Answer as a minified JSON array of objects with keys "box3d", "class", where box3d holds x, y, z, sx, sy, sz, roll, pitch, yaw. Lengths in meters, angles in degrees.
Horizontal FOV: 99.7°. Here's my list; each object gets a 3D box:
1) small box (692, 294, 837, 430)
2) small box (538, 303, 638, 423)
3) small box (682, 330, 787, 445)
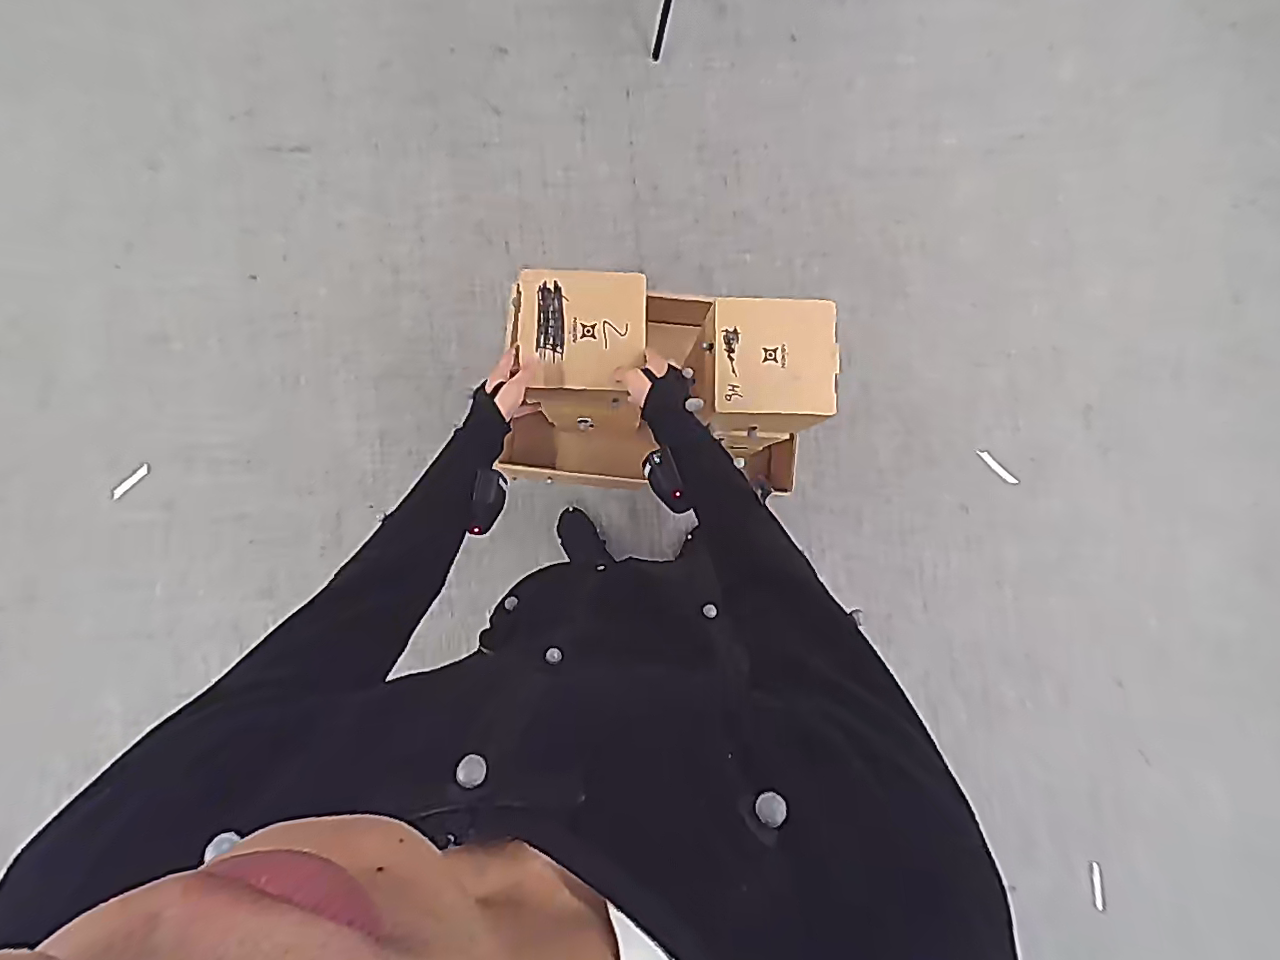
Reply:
[{"box3d":[0.184,-0.172,0.836,0.179,0.176,0.168,2,87,-4],"class":"small box"},{"box3d":[-0.090,-0.205,0.984,0.168,0.176,0.179,0,87,-2],"class":"small box"},{"box3d":[0.172,-0.161,0.999,0.168,0.176,0.179,3,87,-3],"class":"small box"}]
